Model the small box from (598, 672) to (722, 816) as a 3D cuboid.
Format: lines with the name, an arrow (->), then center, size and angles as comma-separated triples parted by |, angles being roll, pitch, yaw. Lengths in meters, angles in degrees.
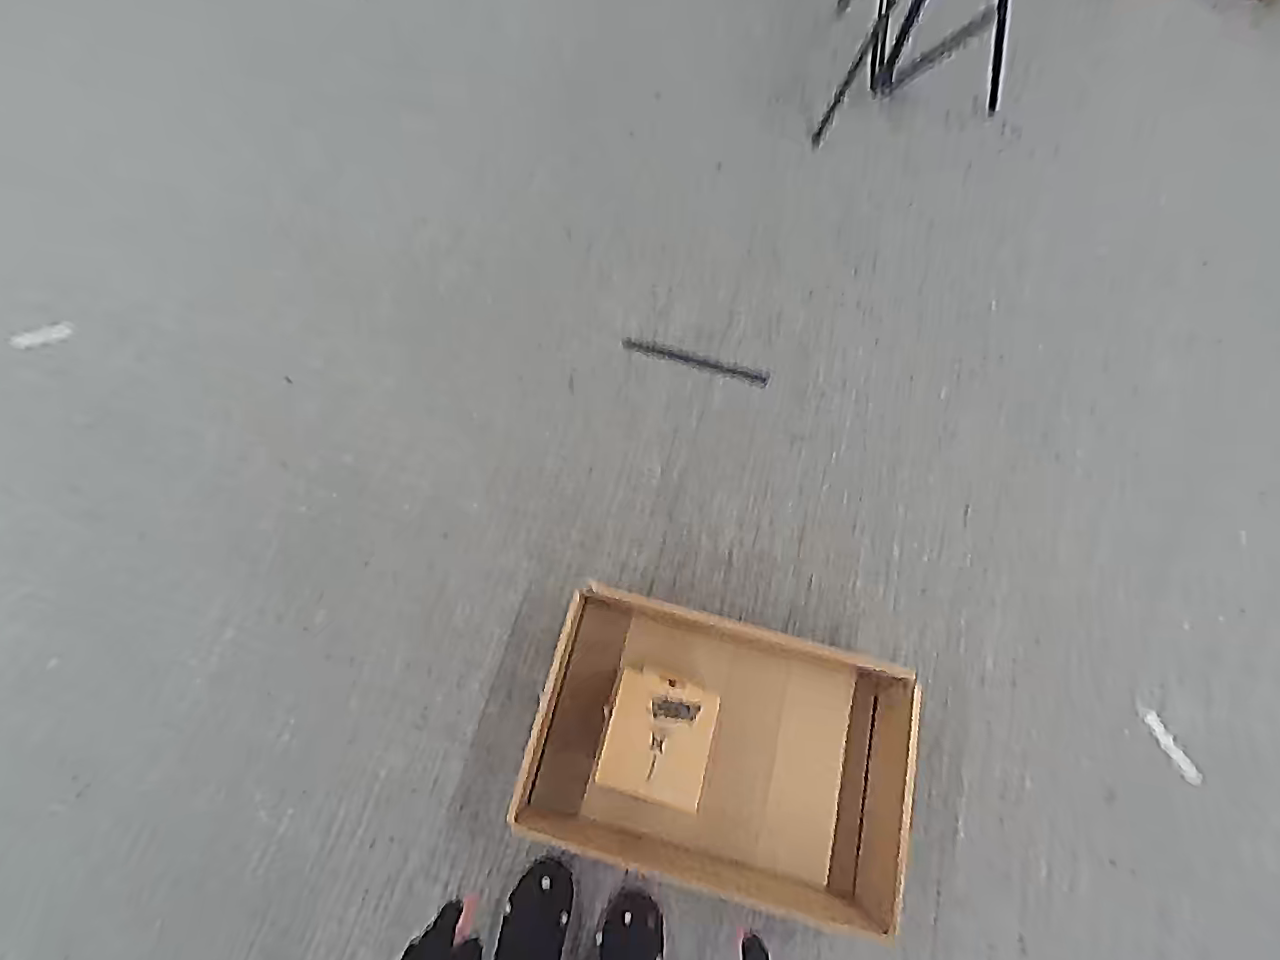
small box -> 0.029, 0.440, 0.931 | 0.168, 0.176, 0.179 | 16, 72, 2
